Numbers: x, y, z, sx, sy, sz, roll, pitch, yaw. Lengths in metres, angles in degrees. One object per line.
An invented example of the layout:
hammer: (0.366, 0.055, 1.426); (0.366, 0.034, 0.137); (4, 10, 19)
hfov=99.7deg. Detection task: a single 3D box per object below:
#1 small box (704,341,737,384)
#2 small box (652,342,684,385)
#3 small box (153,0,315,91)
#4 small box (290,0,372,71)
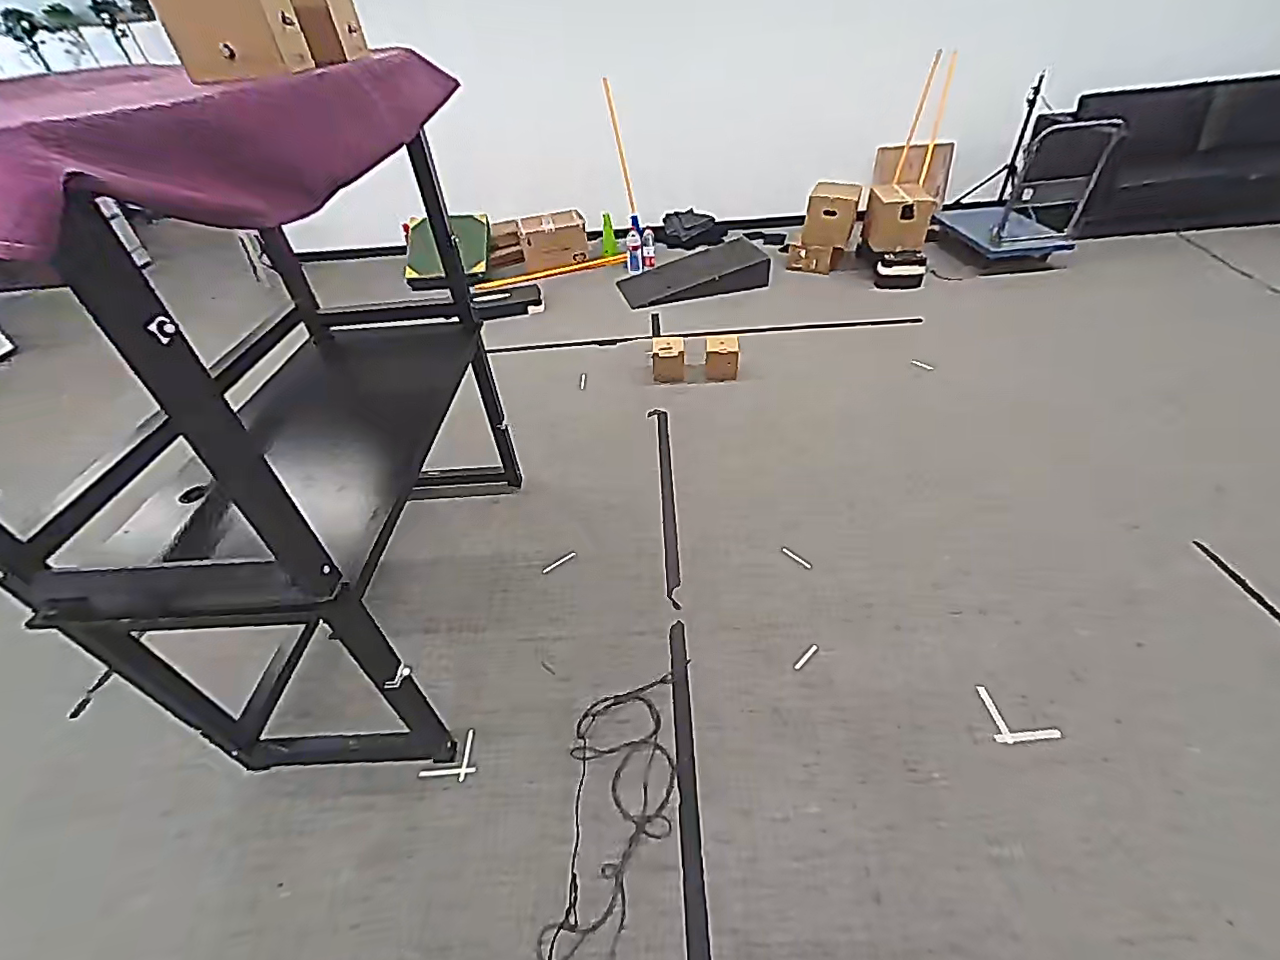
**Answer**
small box: (0.432, -0.628, 2.893); (0.168, 0.176, 0.179); (1, 41, 5)
small box: (0.150, -0.622, 2.906); (0.168, 0.176, 0.179); (-1, 40, 3)
small box: (-0.736, -0.832, 0.992); (0.179, 0.176, 0.168); (-8, 40, -4)
small box: (-0.742, -1.028, 1.217); (0.179, 0.176, 0.168); (-5, 42, 0)
